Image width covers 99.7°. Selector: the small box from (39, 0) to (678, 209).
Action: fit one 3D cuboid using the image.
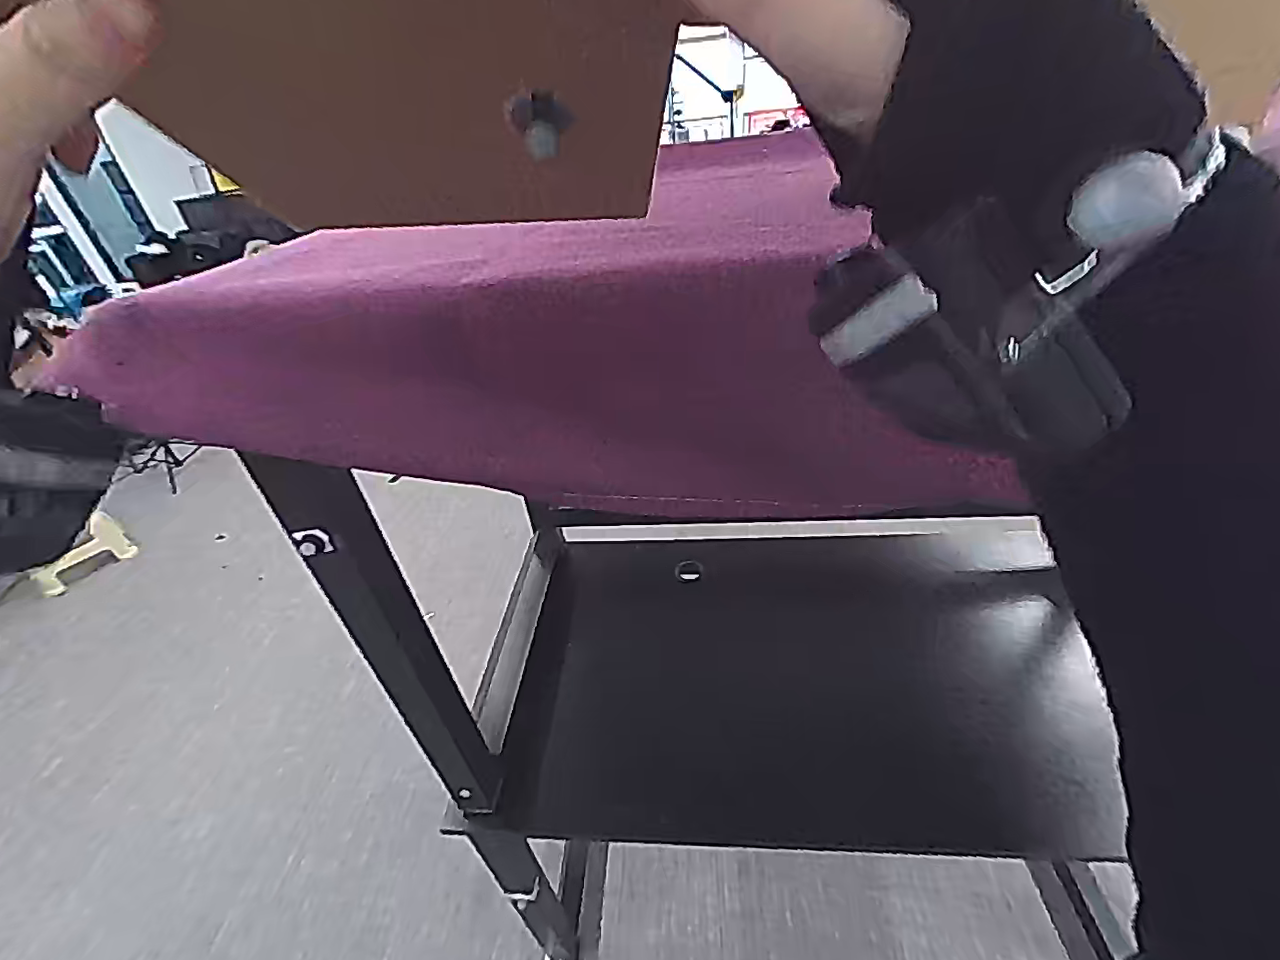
[{"bbox_3d":[-0.078,-0.211,0.182,0.179,0.168,0.176,-3,2,-3],"label":"small box"}]
